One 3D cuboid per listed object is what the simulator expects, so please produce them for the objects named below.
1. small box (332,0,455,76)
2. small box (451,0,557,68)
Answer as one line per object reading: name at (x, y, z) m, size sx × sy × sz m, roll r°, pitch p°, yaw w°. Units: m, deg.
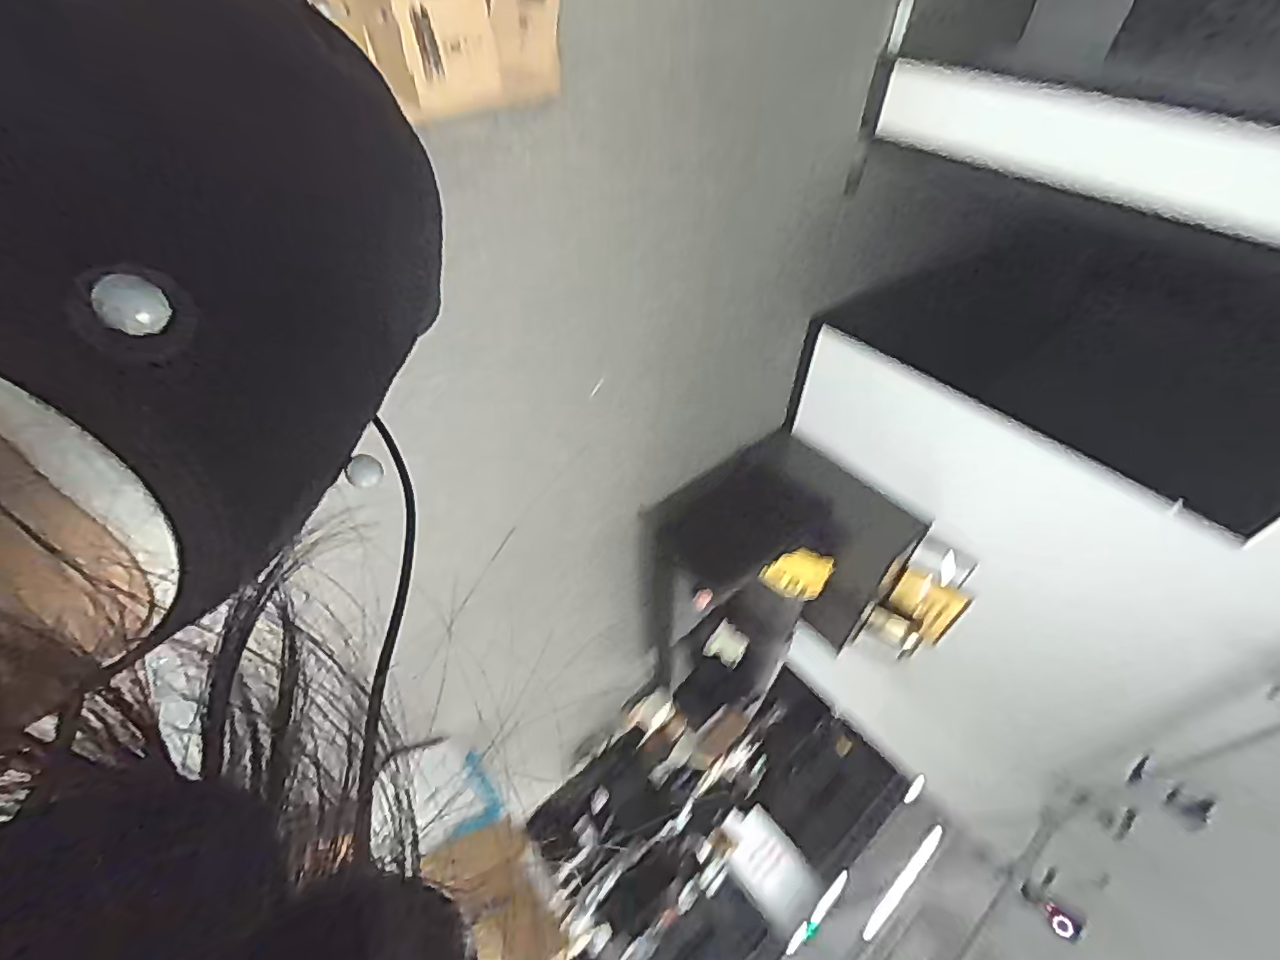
small box at (-0.501, -0.926, 1.080) m, size 0.179 × 0.176 × 0.168 m, roll -30°, pitch 145°, yaw -29°
small box at (-0.302, -1.045, 1.190) m, size 0.168 × 0.176 × 0.179 m, roll -20°, pitch 141°, yaw -38°
